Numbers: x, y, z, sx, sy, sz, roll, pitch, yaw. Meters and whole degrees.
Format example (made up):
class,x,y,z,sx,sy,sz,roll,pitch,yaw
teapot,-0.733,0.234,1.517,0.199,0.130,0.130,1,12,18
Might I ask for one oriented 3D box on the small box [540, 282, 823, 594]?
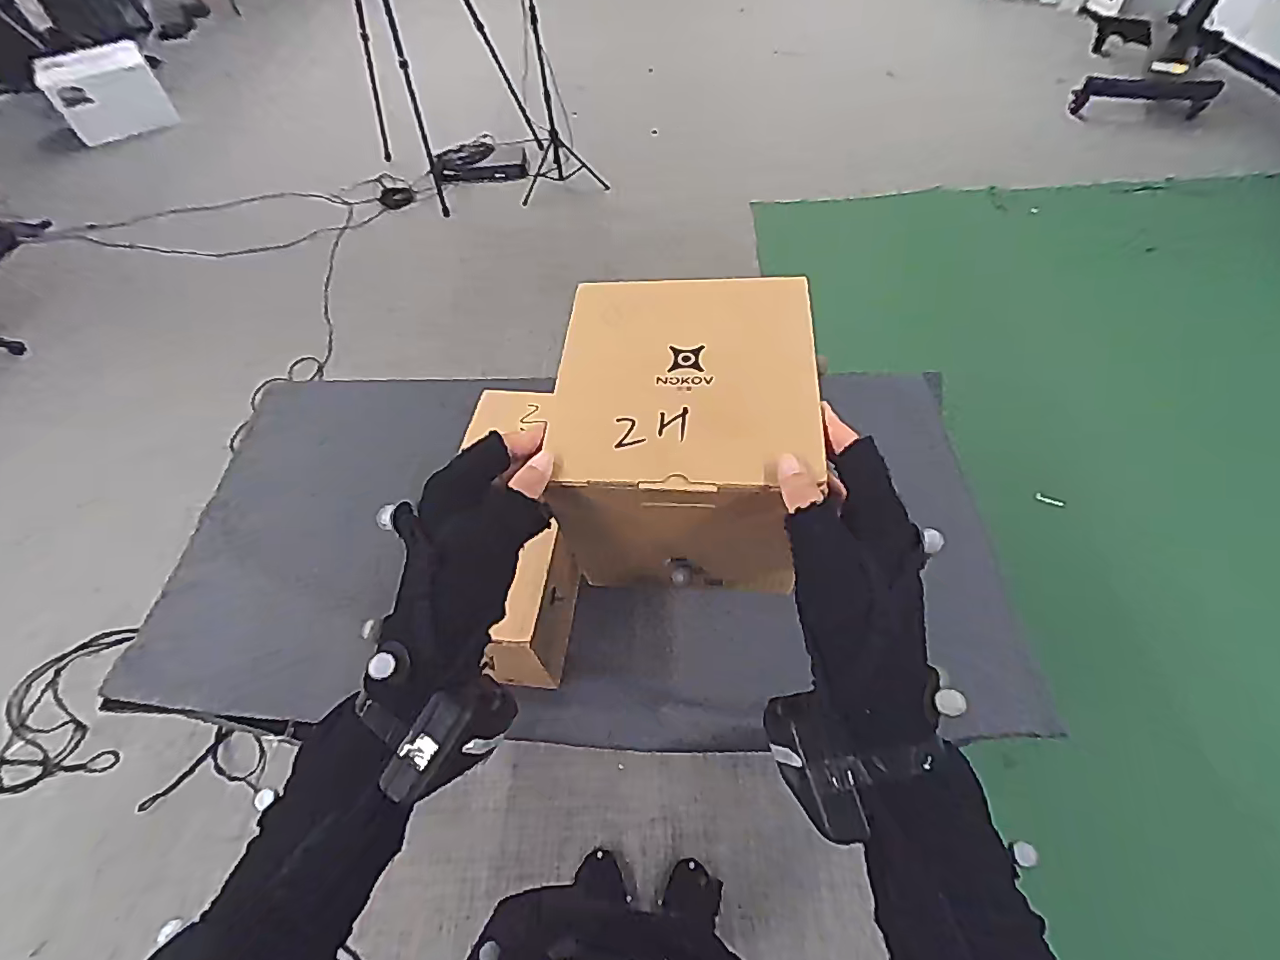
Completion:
class,x,y,z,sx,sy,sz,roll,pitch,yaw
small box,0.038,-0.029,0.418,0.168,0.176,0.179,2,59,9
